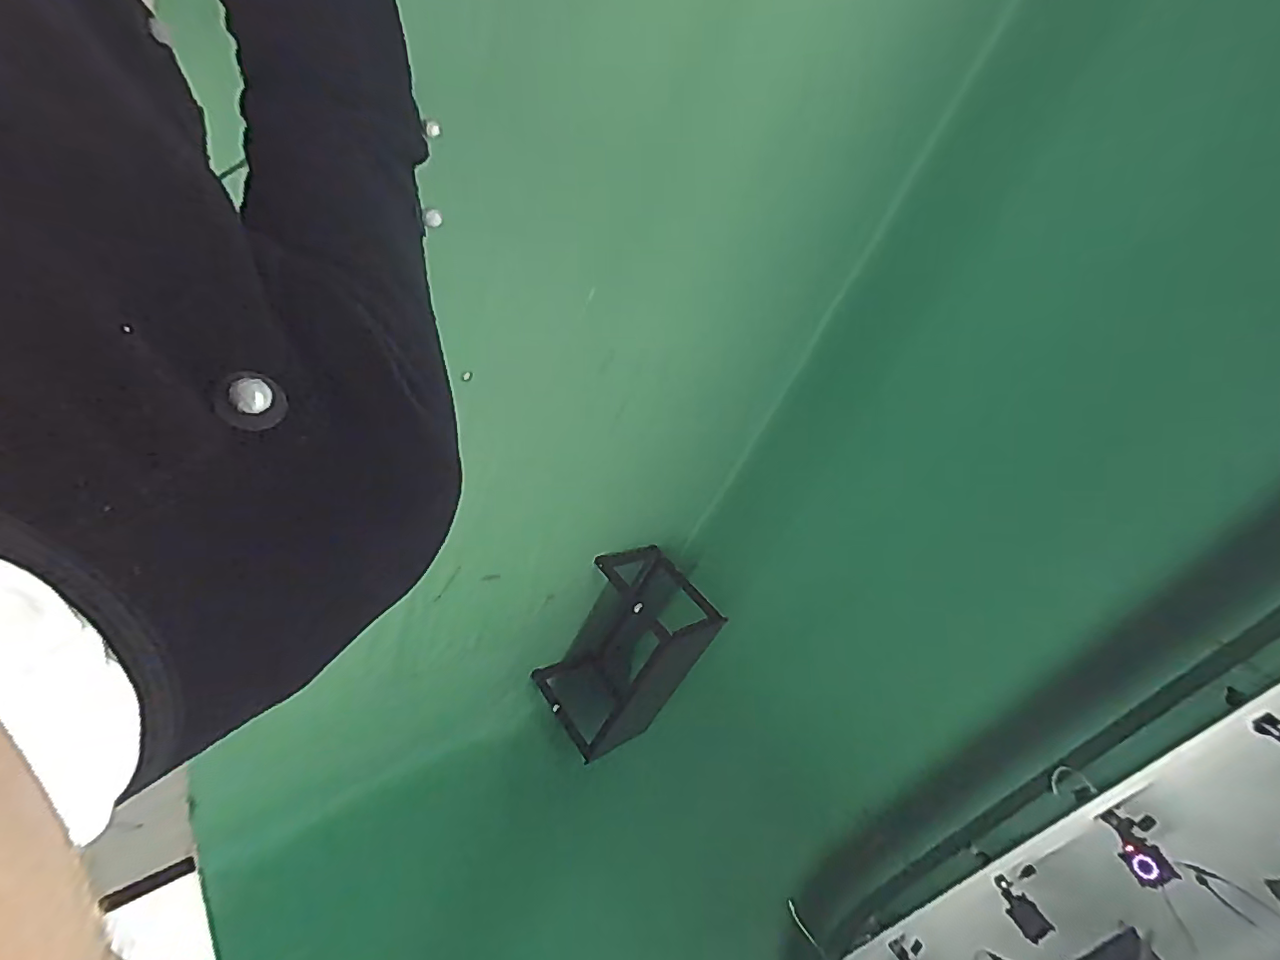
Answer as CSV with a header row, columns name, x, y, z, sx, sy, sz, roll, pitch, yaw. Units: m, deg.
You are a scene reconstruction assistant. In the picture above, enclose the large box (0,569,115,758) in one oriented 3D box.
name,x,y,z,sx,sy,sz,roll,pitch,yaw
large box,-1.732,0.514,1.410,0.408,0.320,0.320,-33,149,-22
